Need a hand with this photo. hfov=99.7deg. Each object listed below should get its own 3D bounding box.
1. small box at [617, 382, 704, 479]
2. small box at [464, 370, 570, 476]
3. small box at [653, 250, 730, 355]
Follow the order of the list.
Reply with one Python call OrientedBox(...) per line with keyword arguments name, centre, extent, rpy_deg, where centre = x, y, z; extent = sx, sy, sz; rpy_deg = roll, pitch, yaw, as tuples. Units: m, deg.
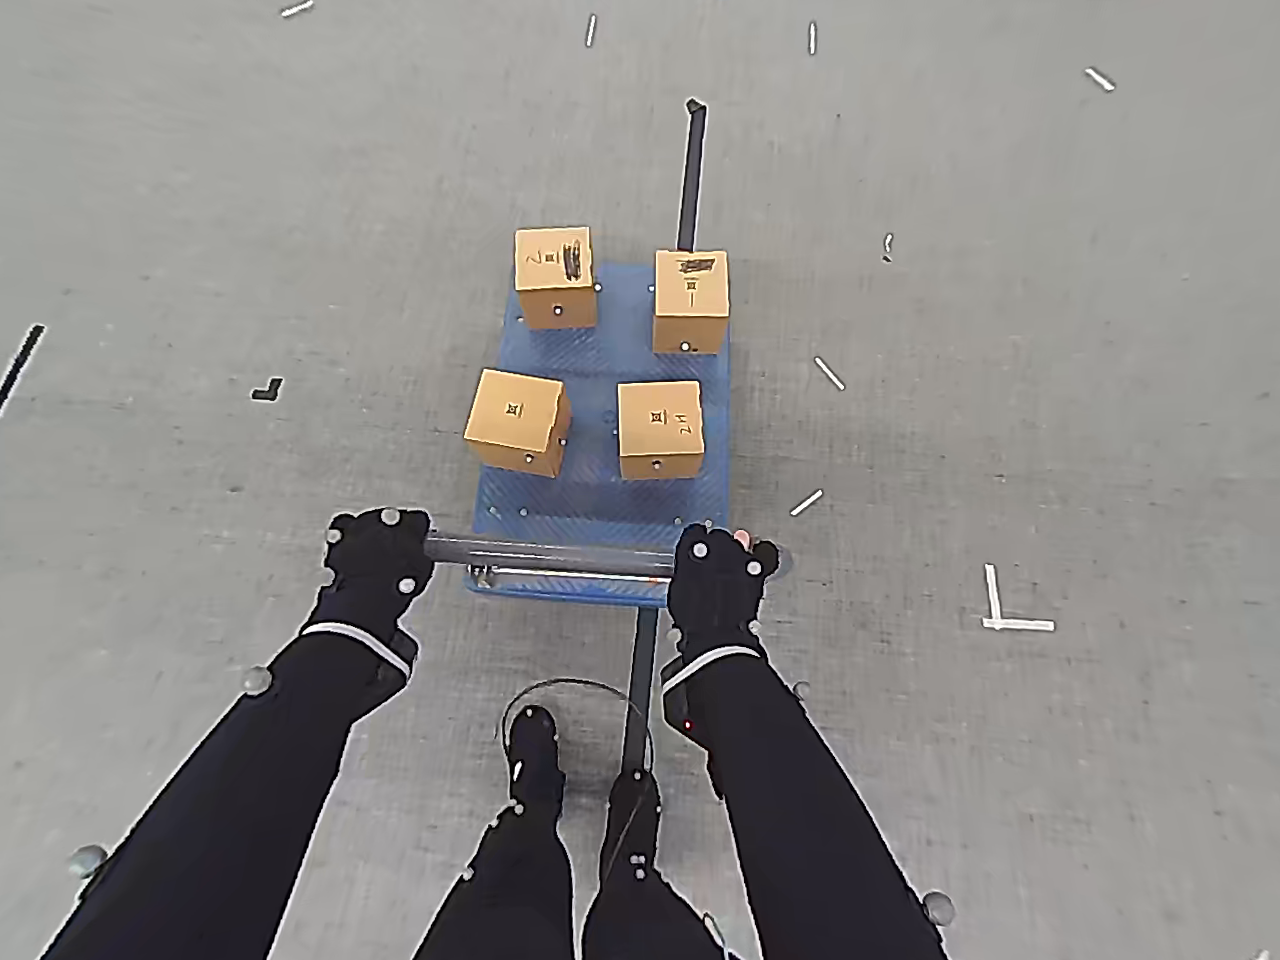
OrientedBox(name="small box", centre=(0.042, -0.102, 1.191), extent=(0.179, 0.176, 0.168), rpy_deg=(-2, 73, -1))
OrientedBox(name="small box", centre=(-0.262, -0.120, 1.196), extent=(0.179, 0.176, 0.168), rpy_deg=(10, 73, 1))
OrientedBox(name="small box", centre=(0.117, -0.419, 1.288), extent=(0.168, 0.176, 0.179), rpy_deg=(1, 74, 0))
